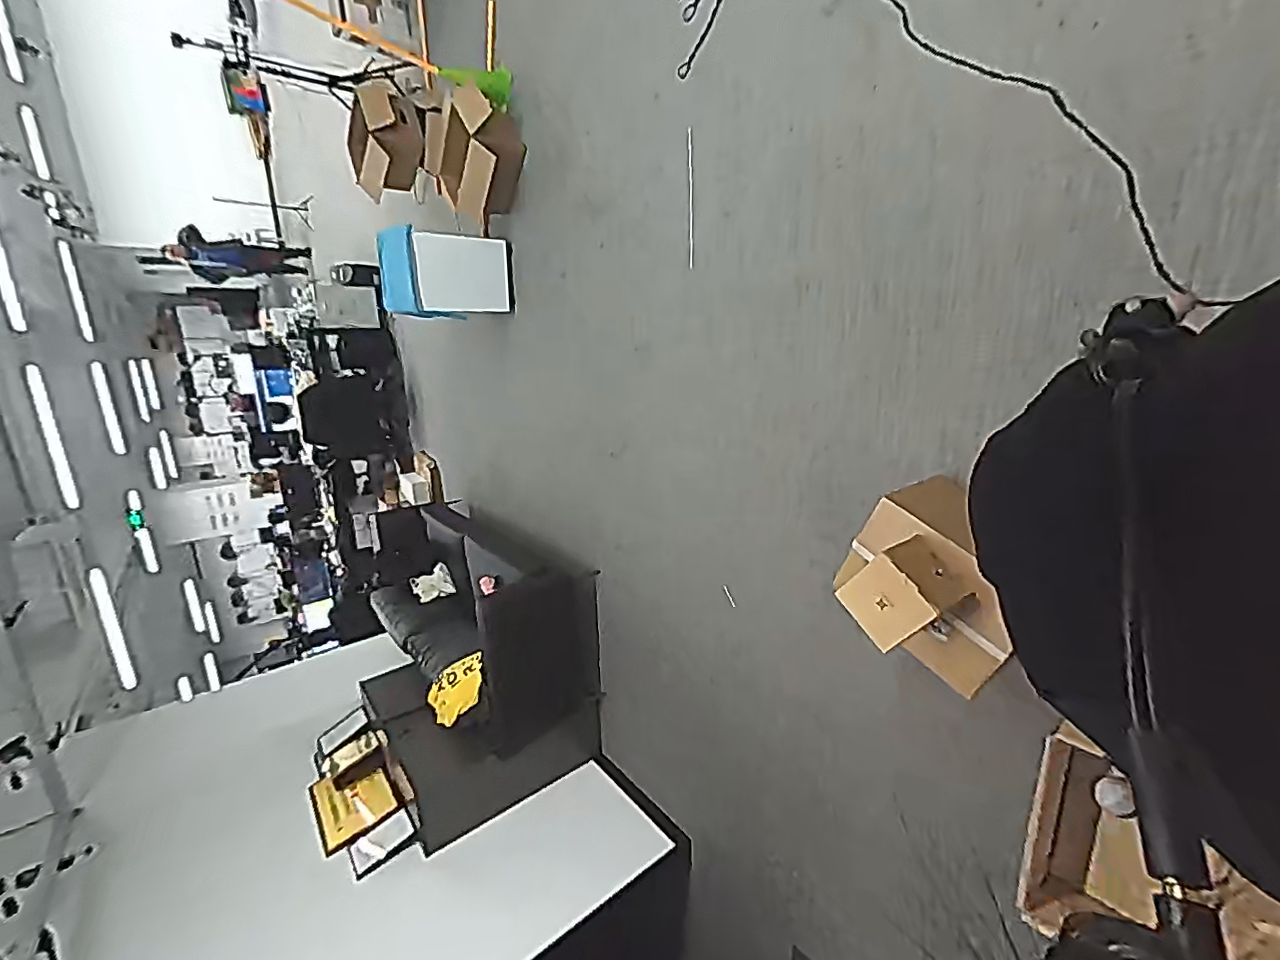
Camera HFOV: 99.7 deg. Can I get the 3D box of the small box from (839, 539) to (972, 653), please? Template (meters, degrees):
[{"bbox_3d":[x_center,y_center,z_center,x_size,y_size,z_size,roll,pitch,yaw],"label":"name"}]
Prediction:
[{"bbox_3d":[0.600,0.258,1.221,0.168,0.176,0.179,55,137,28],"label":"small box"}]

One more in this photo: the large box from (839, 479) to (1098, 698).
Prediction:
[{"bbox_3d":[0.803,0.245,1.361,0.408,0.320,0.320,43,133,37],"label":"large box"}]

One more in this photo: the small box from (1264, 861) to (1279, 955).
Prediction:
[{"bbox_3d":[0.946,0.632,0.684,0.168,0.176,0.179,-23,81,54],"label":"small box"}]
